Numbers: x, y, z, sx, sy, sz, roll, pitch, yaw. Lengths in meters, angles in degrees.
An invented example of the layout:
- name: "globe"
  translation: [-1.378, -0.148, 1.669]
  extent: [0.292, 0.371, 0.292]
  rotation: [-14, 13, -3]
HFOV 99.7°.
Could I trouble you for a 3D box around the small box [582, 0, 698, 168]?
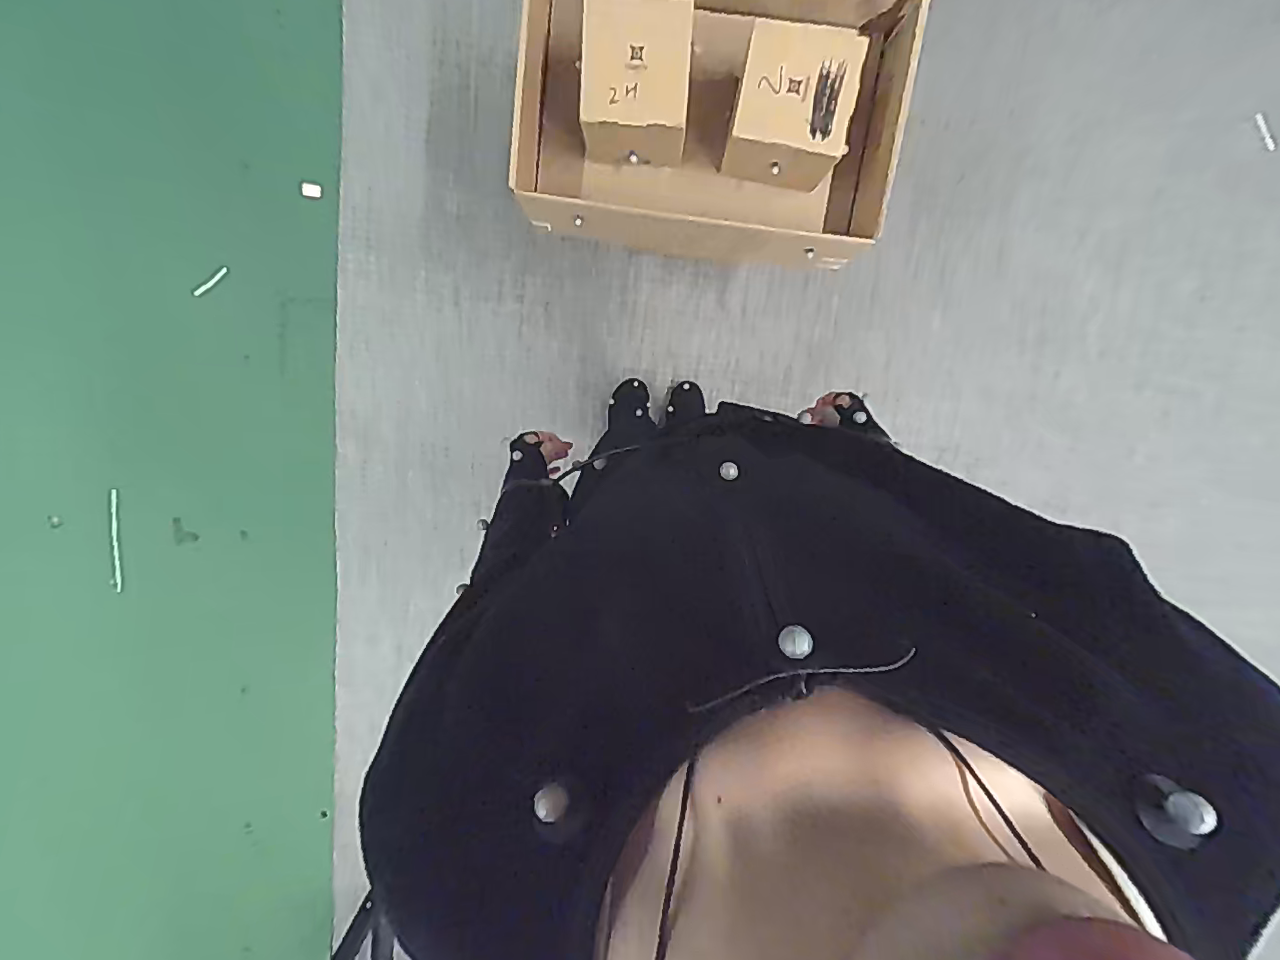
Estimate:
- name: "small box"
  translation: [-0.001, -0.645, 0.890]
  extent: [0.168, 0.176, 0.179]
  rotation: [4, 100, 1]
